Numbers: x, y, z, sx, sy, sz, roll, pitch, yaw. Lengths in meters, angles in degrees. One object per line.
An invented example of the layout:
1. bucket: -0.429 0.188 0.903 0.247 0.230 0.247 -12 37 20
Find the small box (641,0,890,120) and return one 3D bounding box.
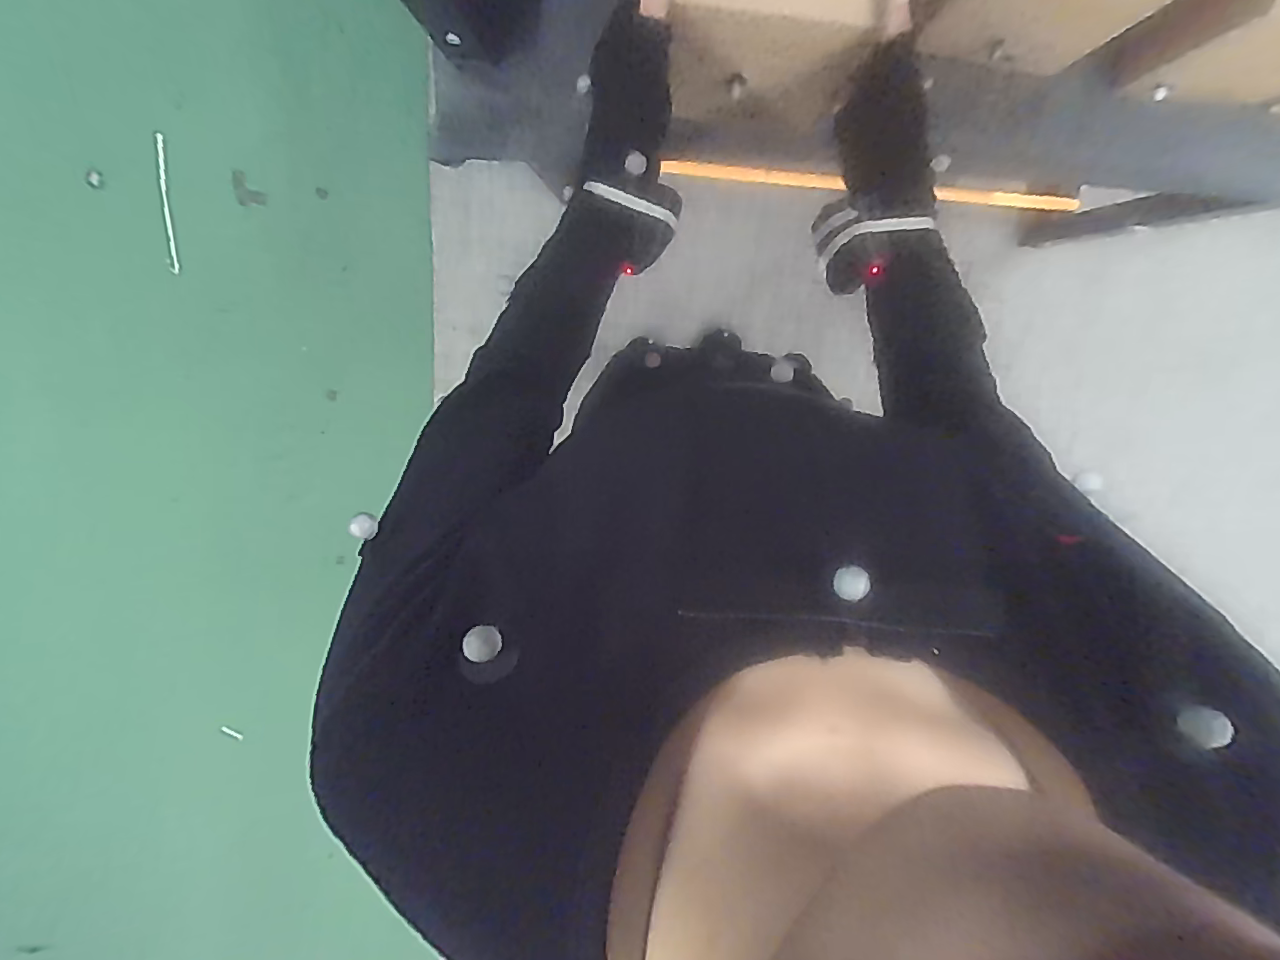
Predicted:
1. small box: 0.090 -0.413 0.419 0.168 0.176 0.179 4 101 -3
